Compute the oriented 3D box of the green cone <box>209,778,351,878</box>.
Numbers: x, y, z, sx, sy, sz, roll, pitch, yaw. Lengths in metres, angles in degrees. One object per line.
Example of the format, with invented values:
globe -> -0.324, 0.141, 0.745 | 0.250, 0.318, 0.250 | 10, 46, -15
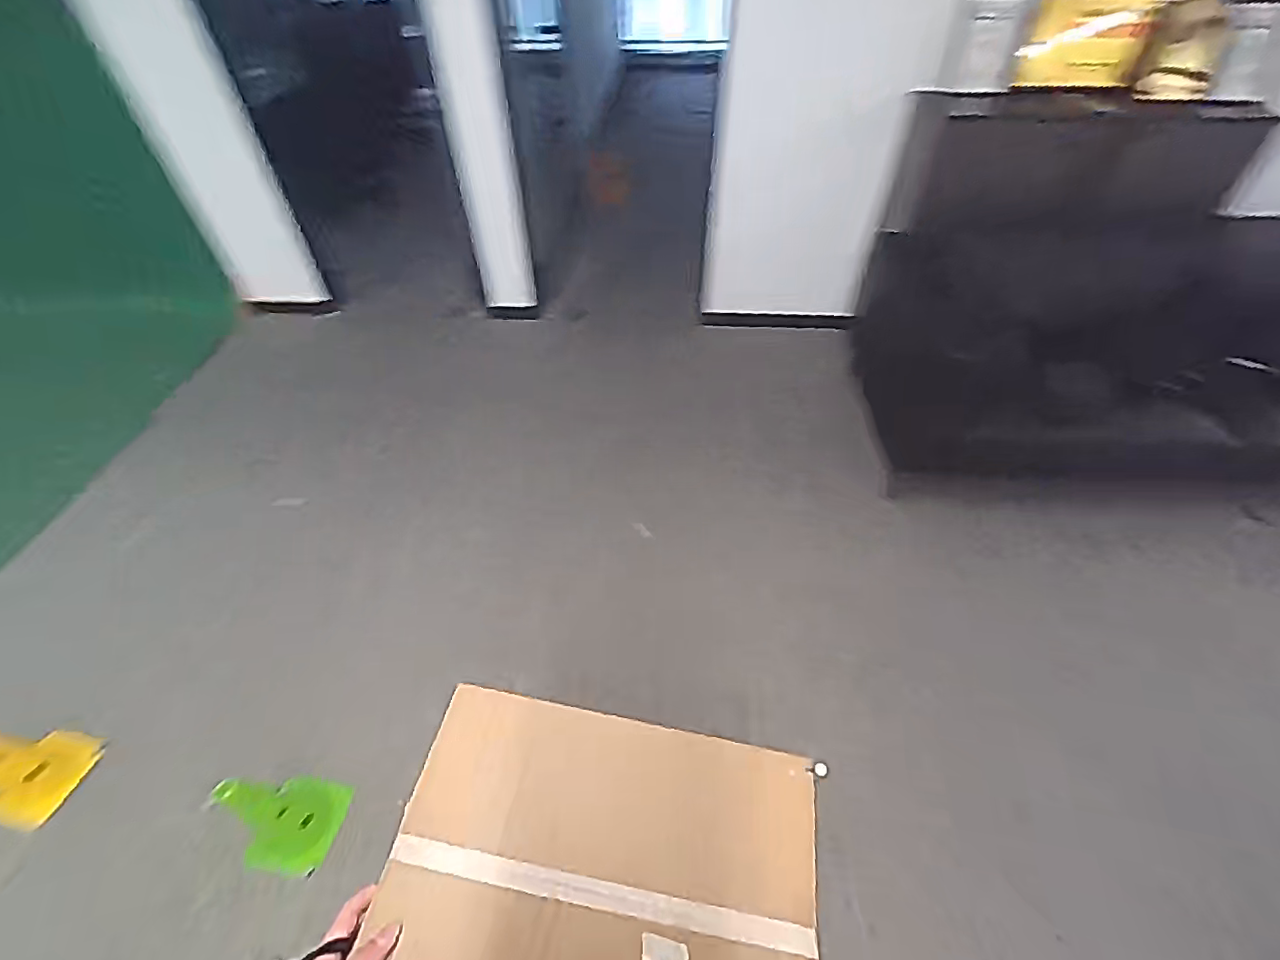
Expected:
green cone -> -0.881, 0.774, 1.271 | 0.202, 0.368, 0.200 | 6, 47, 8
